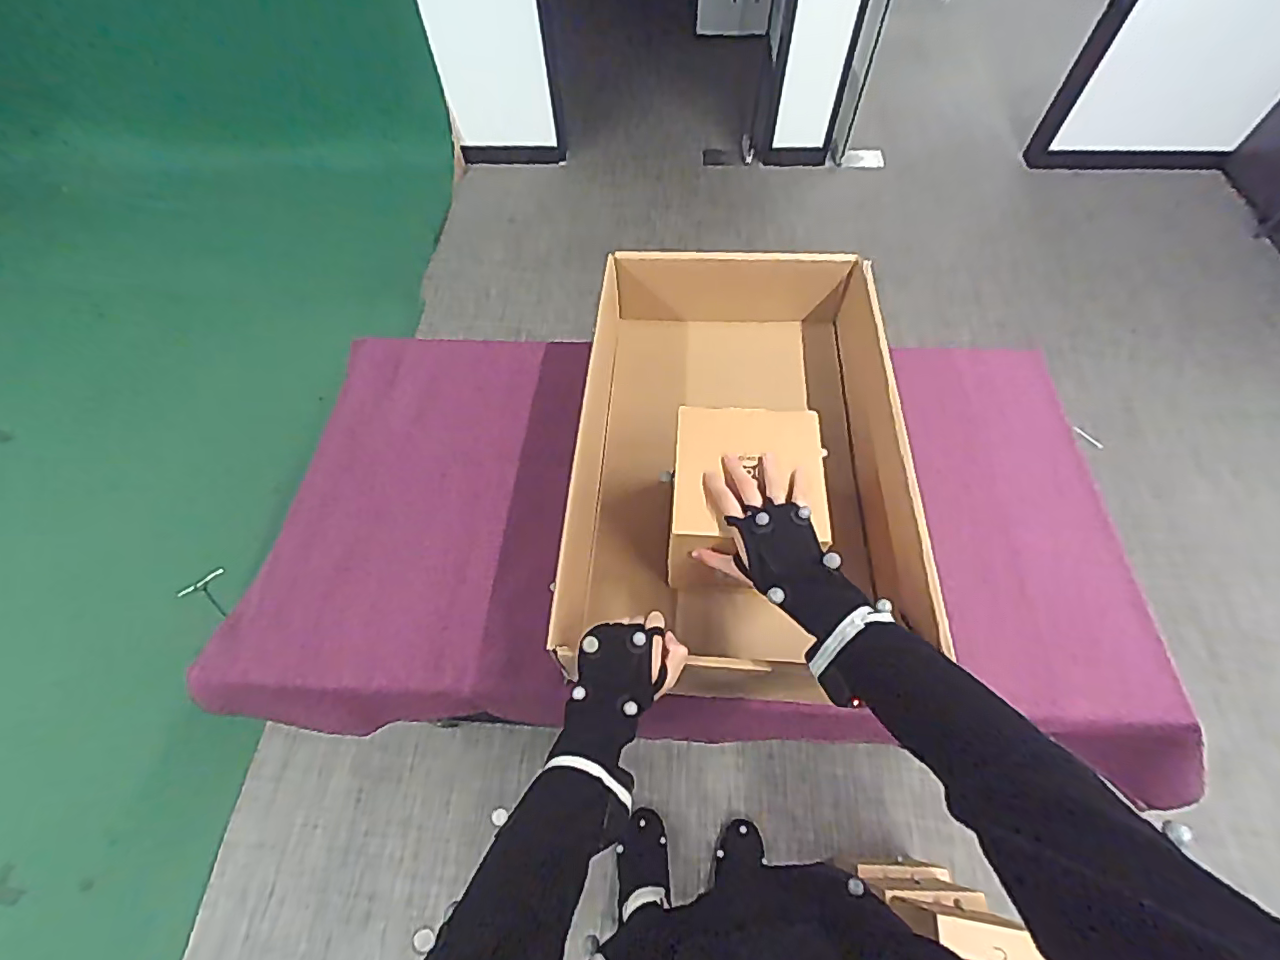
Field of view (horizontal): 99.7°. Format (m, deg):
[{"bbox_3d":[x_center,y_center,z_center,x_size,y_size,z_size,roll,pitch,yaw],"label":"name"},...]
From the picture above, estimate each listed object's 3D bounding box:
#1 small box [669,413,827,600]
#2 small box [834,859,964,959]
[{"bbox_3d":[0.124,0.038,0.671,0.168,0.176,0.179,3,57,5],"label":"small box"},{"bbox_3d":[0.505,0.864,1.075,0.179,0.176,0.168,0,60,3],"label":"small box"}]
